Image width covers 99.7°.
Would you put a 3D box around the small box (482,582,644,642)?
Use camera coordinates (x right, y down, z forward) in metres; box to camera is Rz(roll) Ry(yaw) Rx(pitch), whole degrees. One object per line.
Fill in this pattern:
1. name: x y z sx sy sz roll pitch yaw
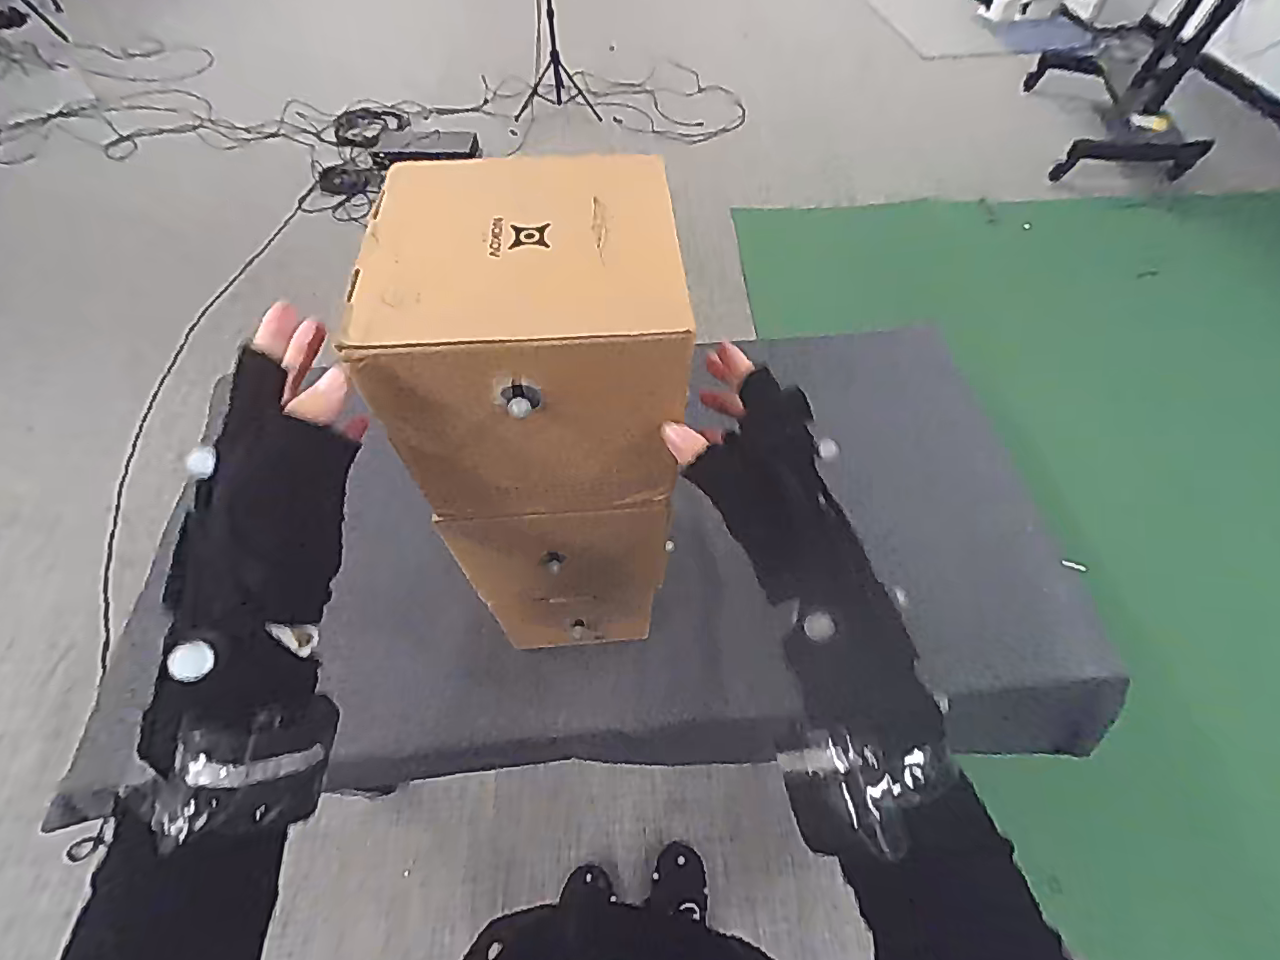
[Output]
1. small box: -0.083 0.088 0.648 0.168 0.176 0.179 -4 58 -4

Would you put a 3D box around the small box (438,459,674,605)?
1. small box: -0.073 0.006 0.506 0.179 0.176 0.168 -5 58 -6

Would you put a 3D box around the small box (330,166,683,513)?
1. small box: -0.071 -0.087 0.373 0.179 0.176 0.168 -3 58 -4
